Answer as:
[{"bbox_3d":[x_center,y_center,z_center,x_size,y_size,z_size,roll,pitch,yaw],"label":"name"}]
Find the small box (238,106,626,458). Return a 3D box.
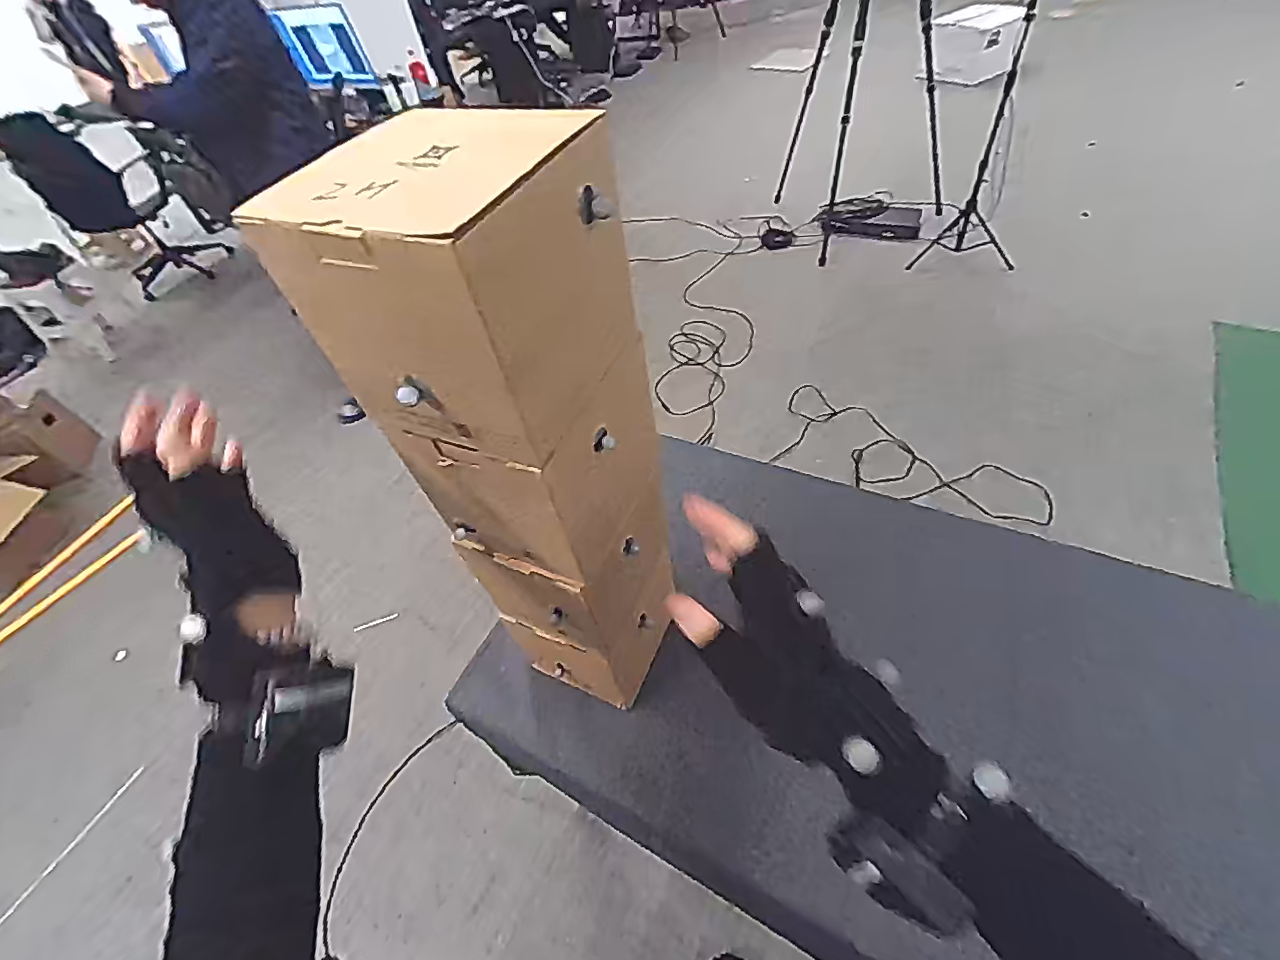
[{"bbox_3d":[-0.119,-0.146,0.395,0.168,0.176,0.179,15,54,20],"label":"small box"}]

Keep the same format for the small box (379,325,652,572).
[{"bbox_3d":[-0.097,-0.040,0.518,0.168,0.176,0.179,16,54,20],"label":"small box"}]

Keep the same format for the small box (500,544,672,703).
[{"bbox_3d":[-0.062,0.178,0.759,0.168,0.176,0.179,16,55,22],"label":"small box"}]

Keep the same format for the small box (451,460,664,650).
[{"bbox_3d":[-0.079,0.071,0.638,0.168,0.176,0.179,17,55,22],"label":"small box"}]
